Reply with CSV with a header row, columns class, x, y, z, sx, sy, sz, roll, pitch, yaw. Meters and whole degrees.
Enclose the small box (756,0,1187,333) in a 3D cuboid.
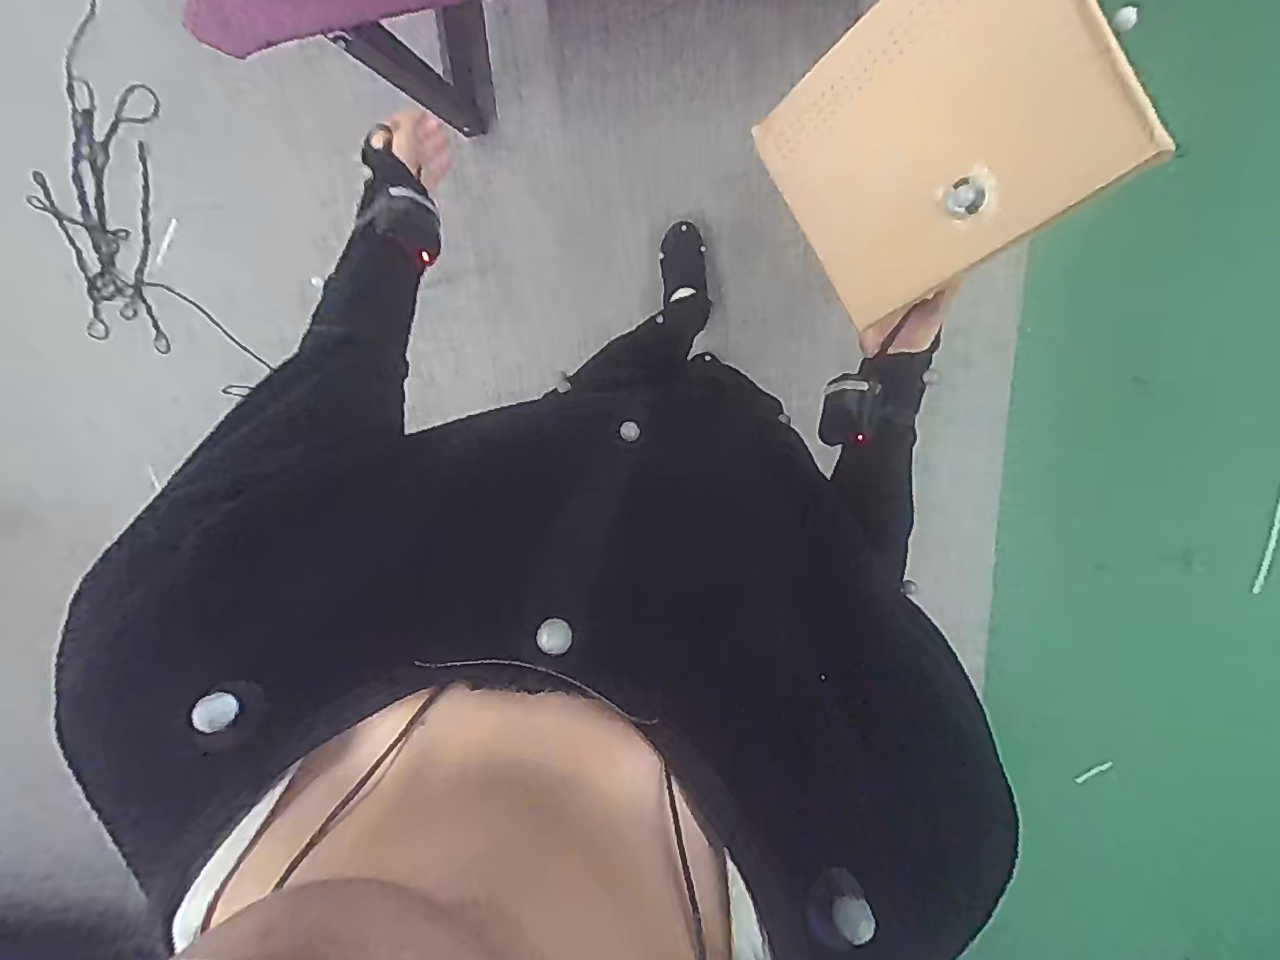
class,x,y,z,sx,sy,sz,roll,pitch,yaw
small box,0.215,-0.232,0.378,0.179,0.168,0.176,-28,93,41
